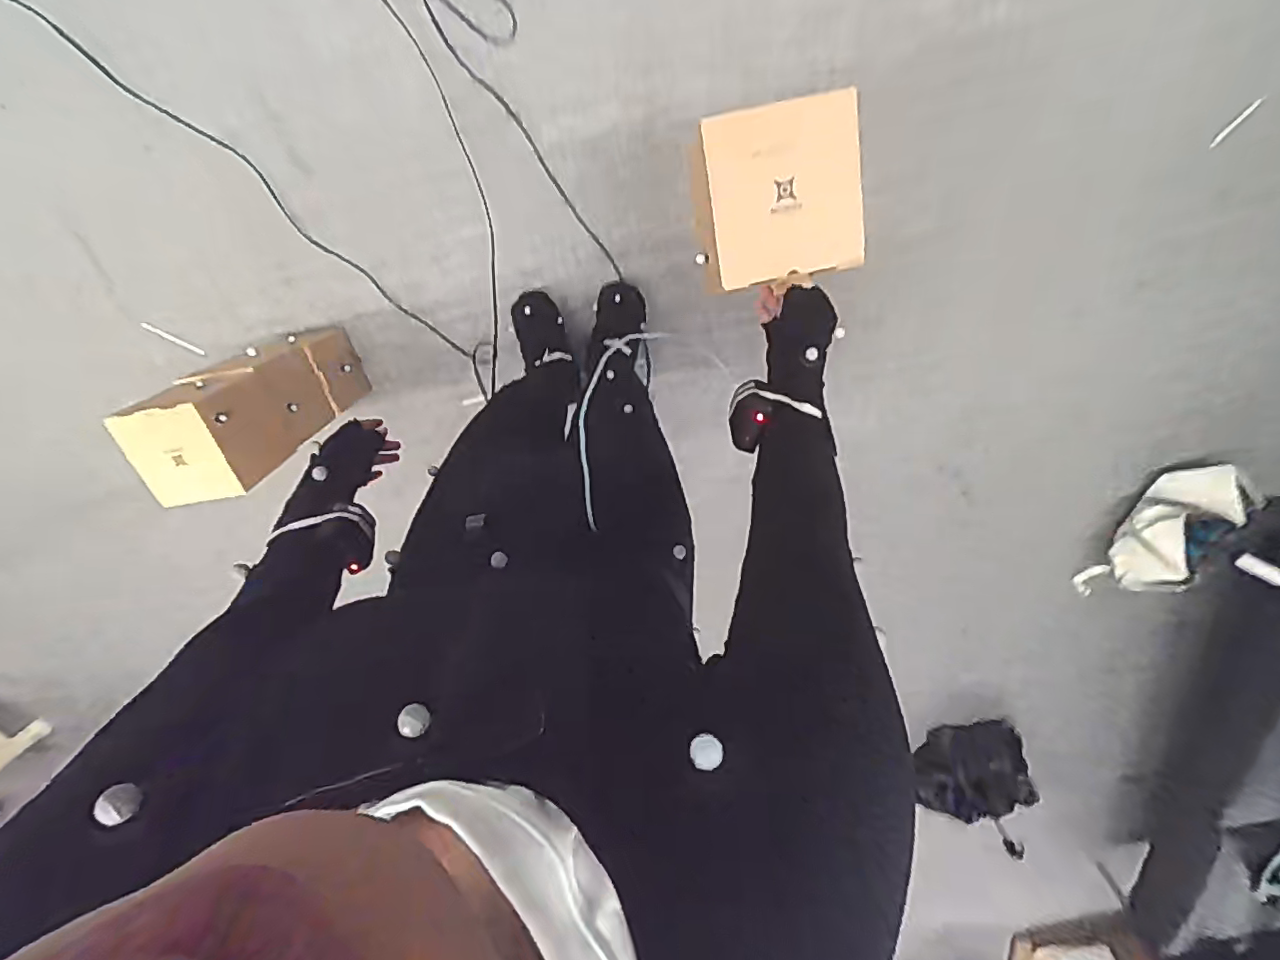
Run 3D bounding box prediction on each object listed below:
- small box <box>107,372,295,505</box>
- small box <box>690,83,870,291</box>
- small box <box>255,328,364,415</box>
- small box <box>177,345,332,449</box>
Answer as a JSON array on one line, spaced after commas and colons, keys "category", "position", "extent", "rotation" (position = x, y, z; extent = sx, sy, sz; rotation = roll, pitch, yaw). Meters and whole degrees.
[{"category": "small box", "position": [-0.781, -0.079, 0.989], "extent": [0.168, 0.176, 0.179], "rotation": [-9, 118, 4]}, {"category": "small box", "position": [0.158, -0.329, 0.645], "extent": [0.168, 0.176, 0.179], "rotation": [-10, 108, 2]}, {"category": "small box", "position": [-0.780, -0.247, 1.270], "extent": [0.179, 0.176, 0.168], "rotation": [-9, 118, 4]}, {"category": "small box", "position": [-0.785, -0.166, 1.127], "extent": [0.168, 0.176, 0.179], "rotation": [-8, 118, 4]}]
